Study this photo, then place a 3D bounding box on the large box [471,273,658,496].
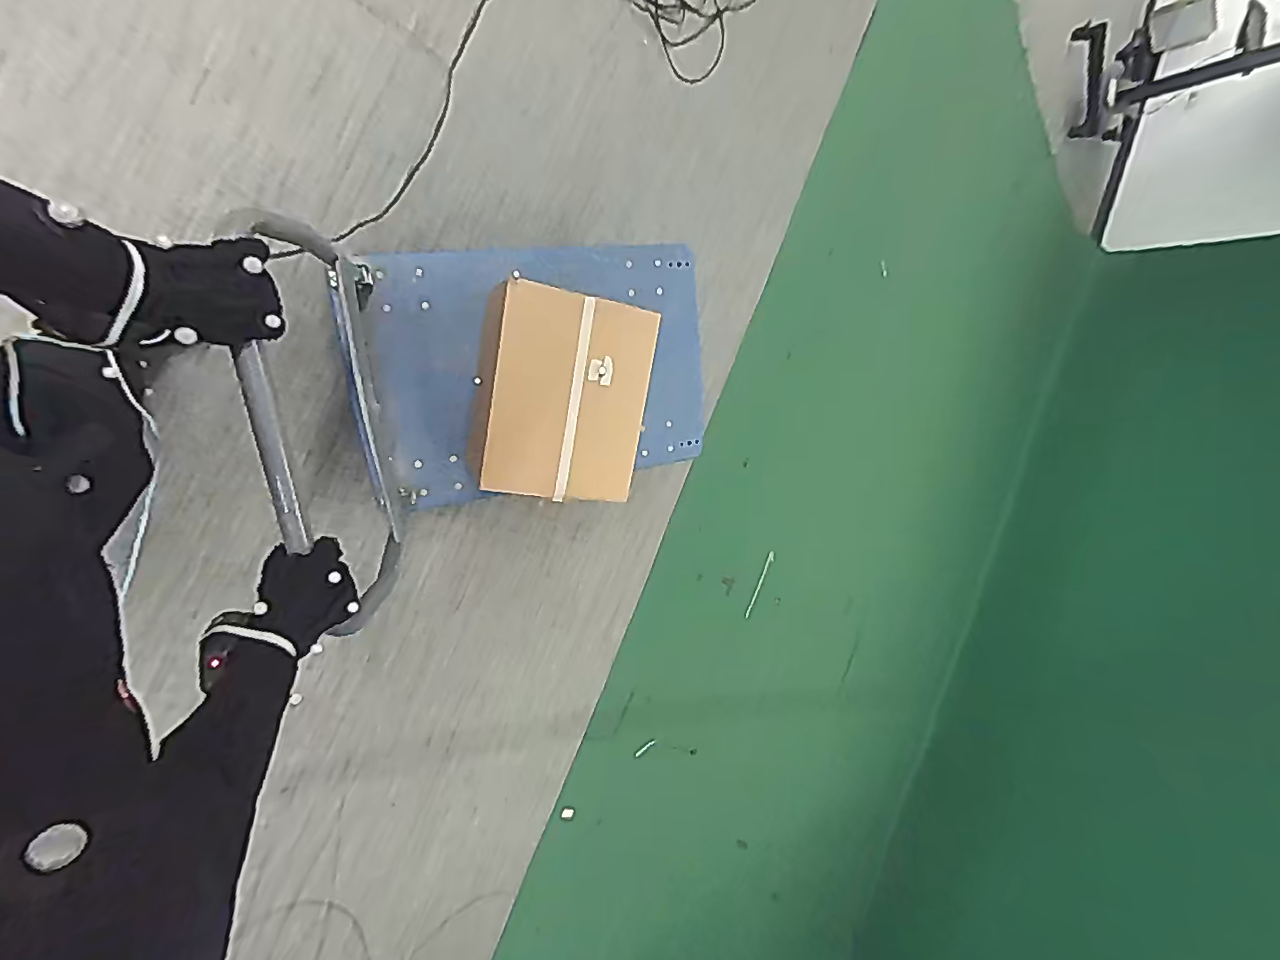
[{"bbox_3d":[-0.189,-0.201,1.206,0.320,0.320,0.408,7,100,-24],"label":"large box"}]
